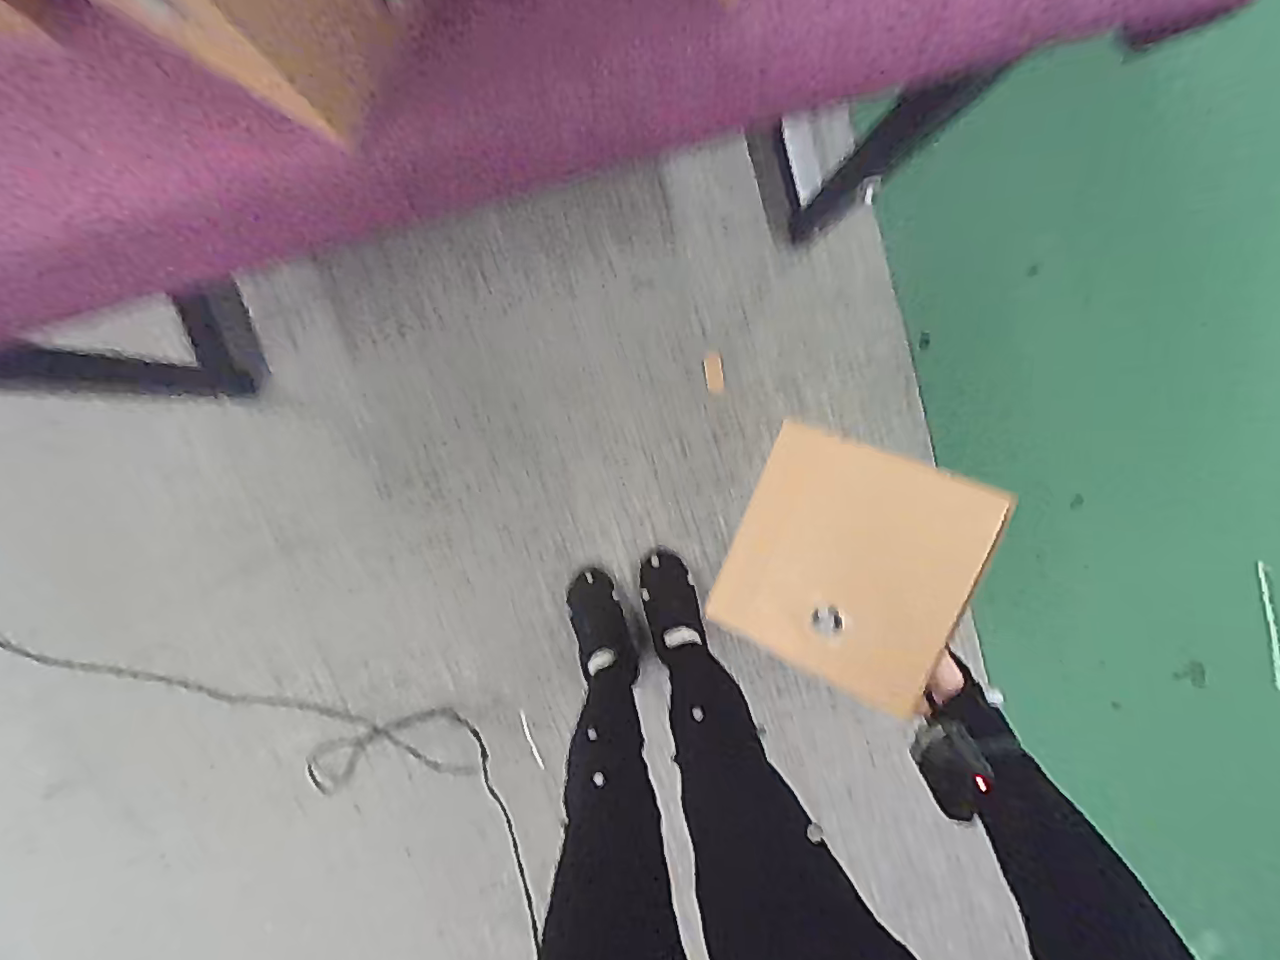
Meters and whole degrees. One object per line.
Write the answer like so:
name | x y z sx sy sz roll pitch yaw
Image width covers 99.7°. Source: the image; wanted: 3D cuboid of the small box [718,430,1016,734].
small box | 0.183 0.073 0.470 0.176 0.168 0.179 23 97 24
